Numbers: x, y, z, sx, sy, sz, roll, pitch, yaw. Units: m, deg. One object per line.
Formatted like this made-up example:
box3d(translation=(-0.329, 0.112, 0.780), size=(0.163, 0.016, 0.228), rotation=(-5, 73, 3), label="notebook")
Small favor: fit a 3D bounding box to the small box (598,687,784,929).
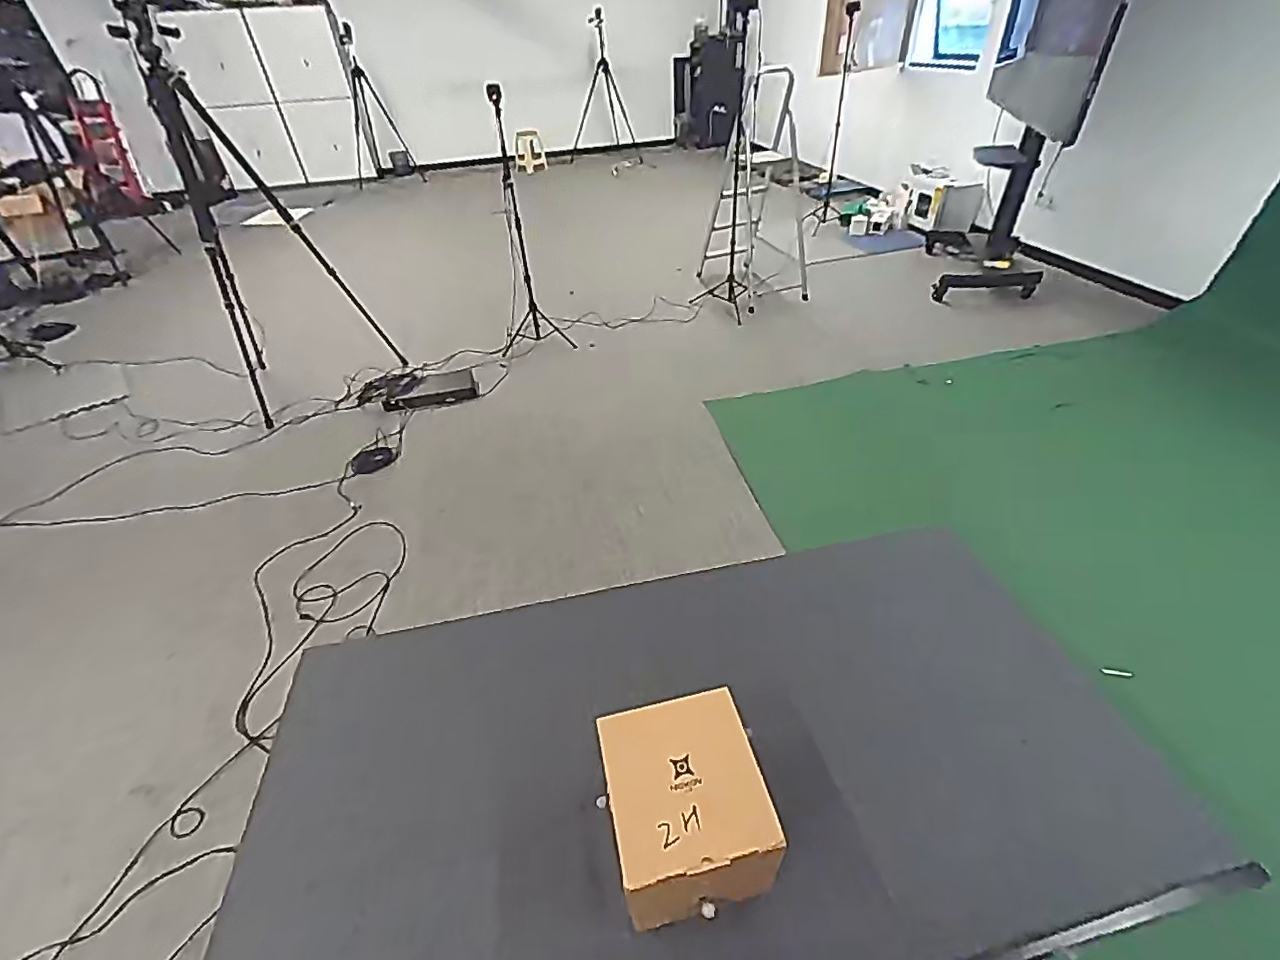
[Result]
box3d(translation=(0.049, 0.379, 0.633), size=(0.168, 0.176, 0.179), rotation=(-11, 40, -8), label="small box")
